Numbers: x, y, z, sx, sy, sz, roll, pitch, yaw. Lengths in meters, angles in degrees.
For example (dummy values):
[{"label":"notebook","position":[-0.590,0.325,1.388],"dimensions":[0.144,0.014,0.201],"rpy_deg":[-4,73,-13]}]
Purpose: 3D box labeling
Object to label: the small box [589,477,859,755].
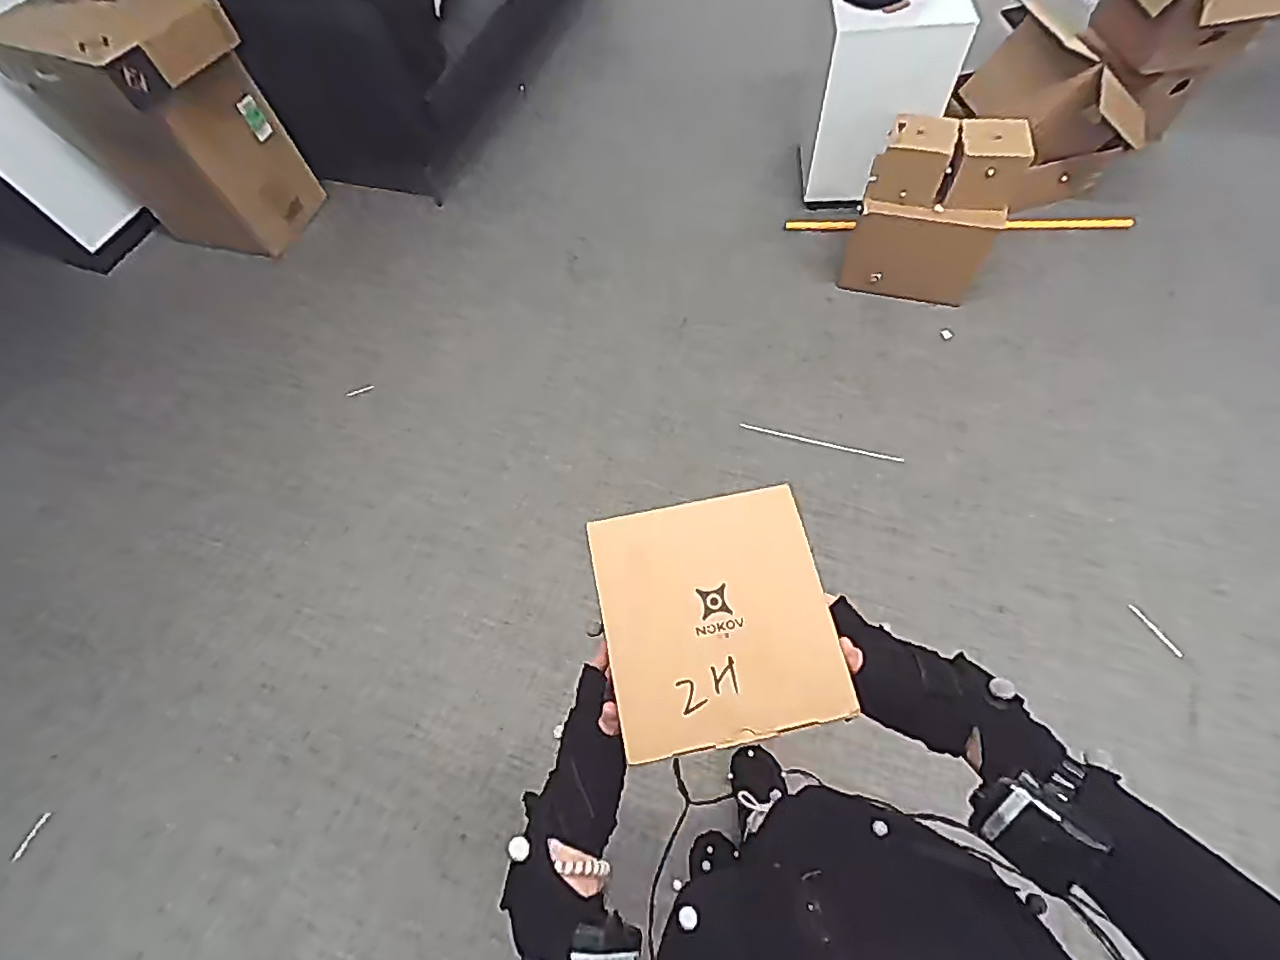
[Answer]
[{"label":"small box","position":[0.054,0.117,0.465],"dimensions":[0.168,0.176,0.179],"rpy_deg":[-11,71,-3]}]
